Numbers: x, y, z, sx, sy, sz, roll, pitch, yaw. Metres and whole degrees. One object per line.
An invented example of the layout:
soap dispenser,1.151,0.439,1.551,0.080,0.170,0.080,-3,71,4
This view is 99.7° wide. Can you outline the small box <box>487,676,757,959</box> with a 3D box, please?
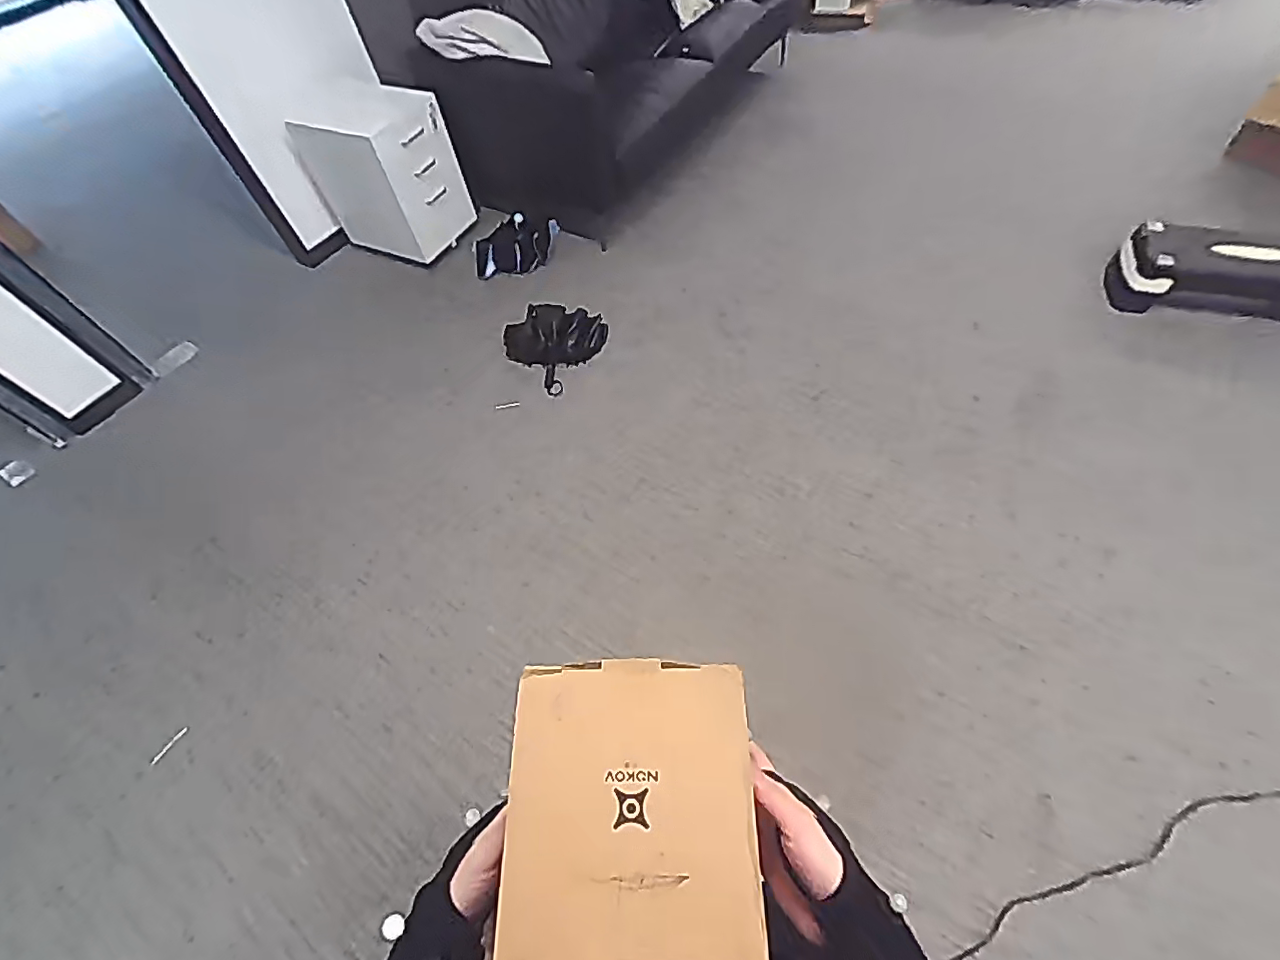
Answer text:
small box,-0.011,0.261,0.430,0.168,0.176,0.179,0,62,0
